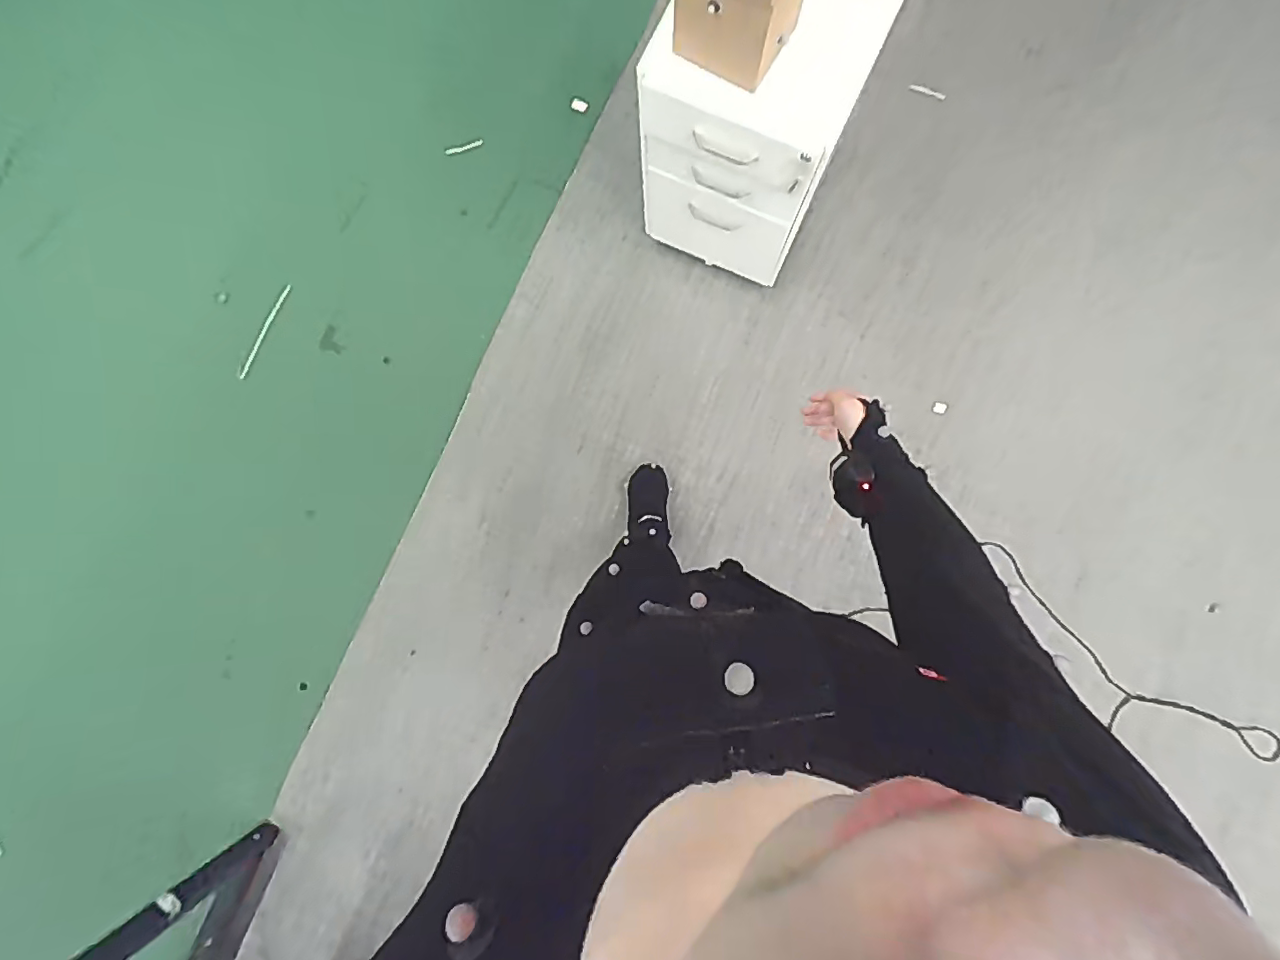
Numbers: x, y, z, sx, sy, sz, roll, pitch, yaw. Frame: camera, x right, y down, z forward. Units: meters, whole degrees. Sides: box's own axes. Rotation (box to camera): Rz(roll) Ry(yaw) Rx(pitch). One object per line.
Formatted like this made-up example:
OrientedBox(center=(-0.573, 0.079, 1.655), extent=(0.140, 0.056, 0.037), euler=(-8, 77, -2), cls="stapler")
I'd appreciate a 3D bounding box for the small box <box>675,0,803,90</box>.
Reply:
OrientedBox(center=(0.170, -0.820, 0.919), extent=(0.179, 0.176, 0.168), euler=(31, 85, 4), cls="small box")
